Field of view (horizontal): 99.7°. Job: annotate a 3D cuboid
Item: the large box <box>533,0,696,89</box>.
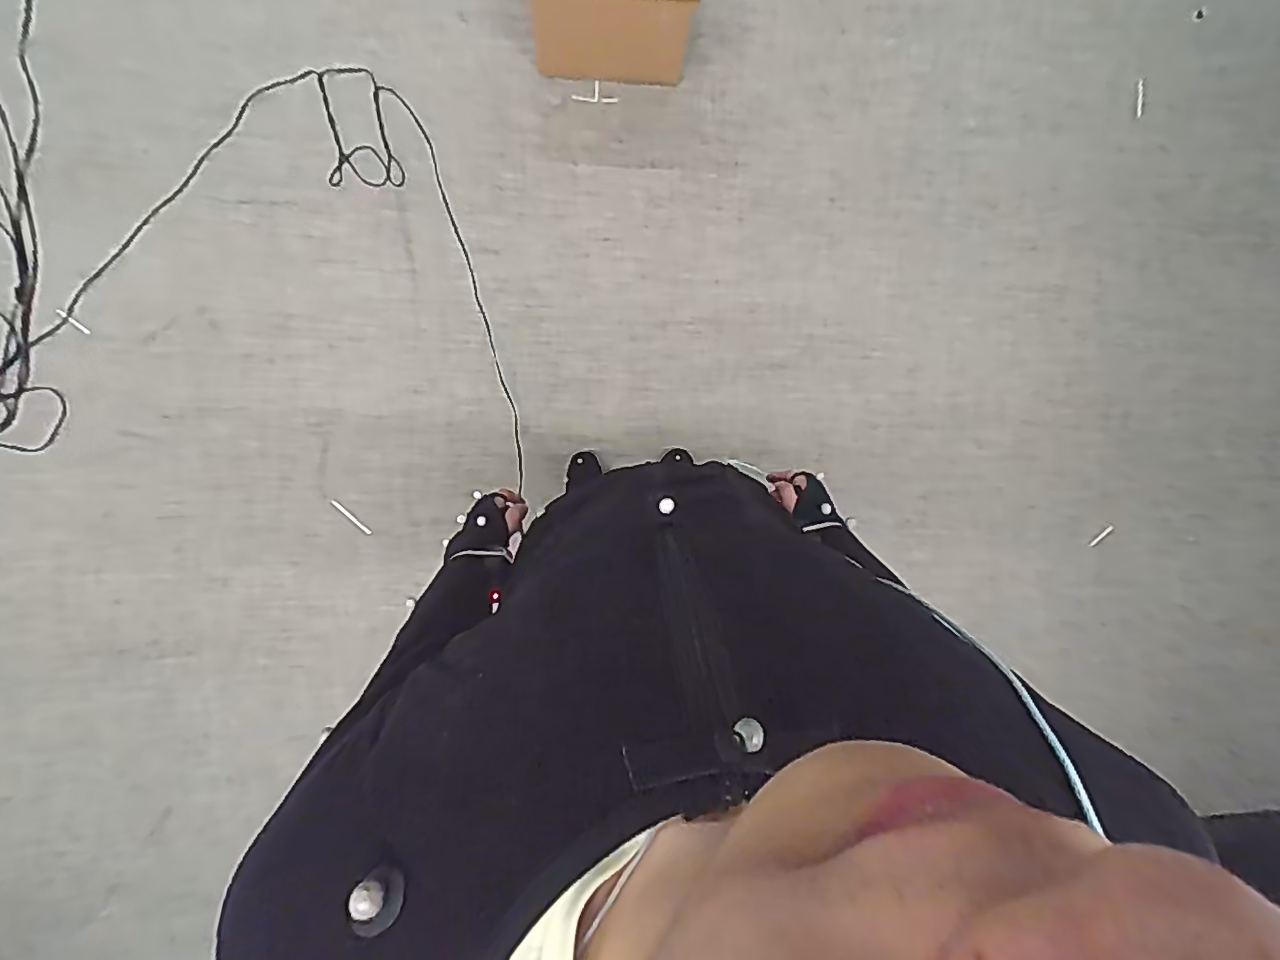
[{"bbox_3d":[-0.083,-1.300,1.440,0.408,0.320,0.320,-2,93,-6],"label":"large box"}]
